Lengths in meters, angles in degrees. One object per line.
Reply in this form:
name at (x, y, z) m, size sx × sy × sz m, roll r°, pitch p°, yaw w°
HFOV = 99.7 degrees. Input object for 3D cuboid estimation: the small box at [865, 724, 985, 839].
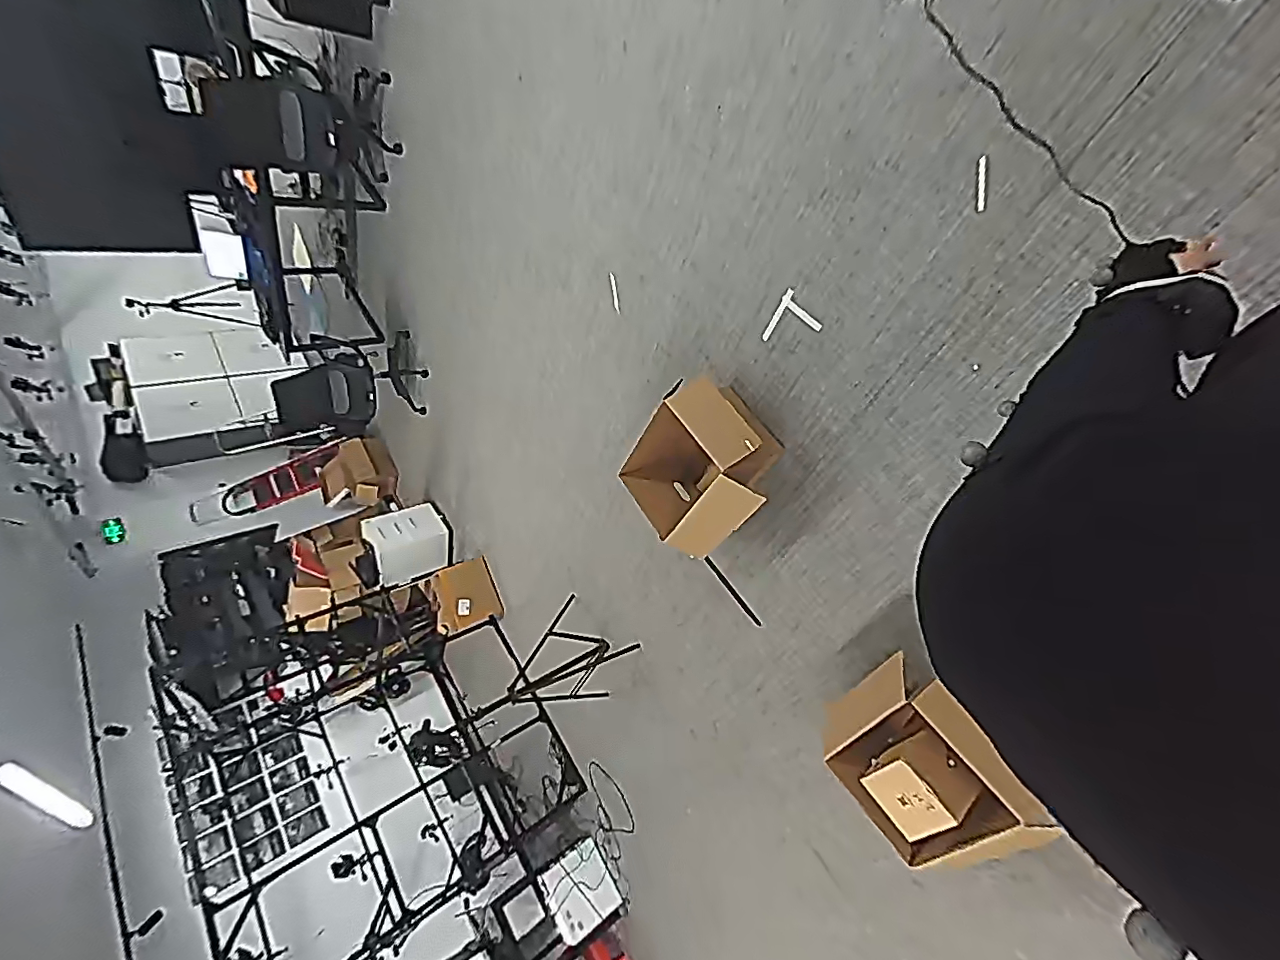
small box at (0.710, 0.747, 1.346) m, size 0.168 × 0.176 × 0.179 m, roll 50°, pitch 138°, yaw 26°
